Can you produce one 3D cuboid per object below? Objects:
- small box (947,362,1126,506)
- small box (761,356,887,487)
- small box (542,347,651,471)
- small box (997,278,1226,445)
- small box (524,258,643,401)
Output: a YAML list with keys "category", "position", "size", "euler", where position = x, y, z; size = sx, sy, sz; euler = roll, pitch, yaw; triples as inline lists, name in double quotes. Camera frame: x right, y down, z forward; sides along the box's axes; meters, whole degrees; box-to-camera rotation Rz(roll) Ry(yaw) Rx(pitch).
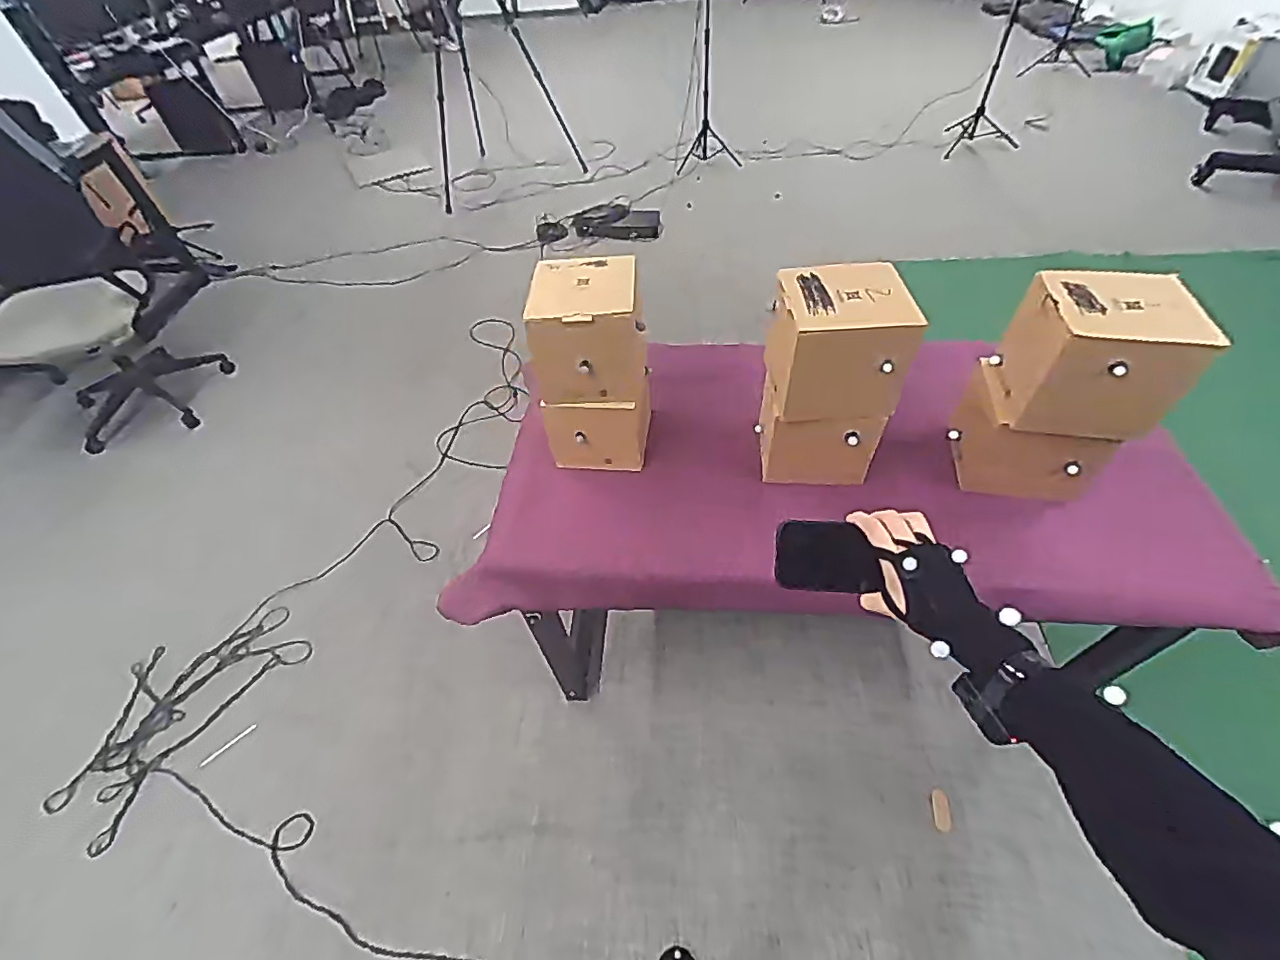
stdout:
- category: "small box"
  position: [0.649, -0.075, 0.910]
  size: [0.179, 0.176, 0.168]
  euler: [7, 50, 11]
- category: "small box"
  position: [0.313, -0.101, 0.961]
  size: [0.179, 0.176, 0.168]
  euler: [2, 50, 7]
- category: "small box"
  position: [-0.071, -0.133, 1.024]
  size: [0.168, 0.176, 0.179]
  euler: [3, 50, 8]
- category: "small box"
  position: [0.644, -0.168, 0.775]
  size: [0.179, 0.176, 0.168]
  euler: [7, 51, 11]
- category: "small box"
  position: [-0.082, -0.245, 0.904]
  size: [0.168, 0.176, 0.179]
  euler: [-1, 51, 4]
